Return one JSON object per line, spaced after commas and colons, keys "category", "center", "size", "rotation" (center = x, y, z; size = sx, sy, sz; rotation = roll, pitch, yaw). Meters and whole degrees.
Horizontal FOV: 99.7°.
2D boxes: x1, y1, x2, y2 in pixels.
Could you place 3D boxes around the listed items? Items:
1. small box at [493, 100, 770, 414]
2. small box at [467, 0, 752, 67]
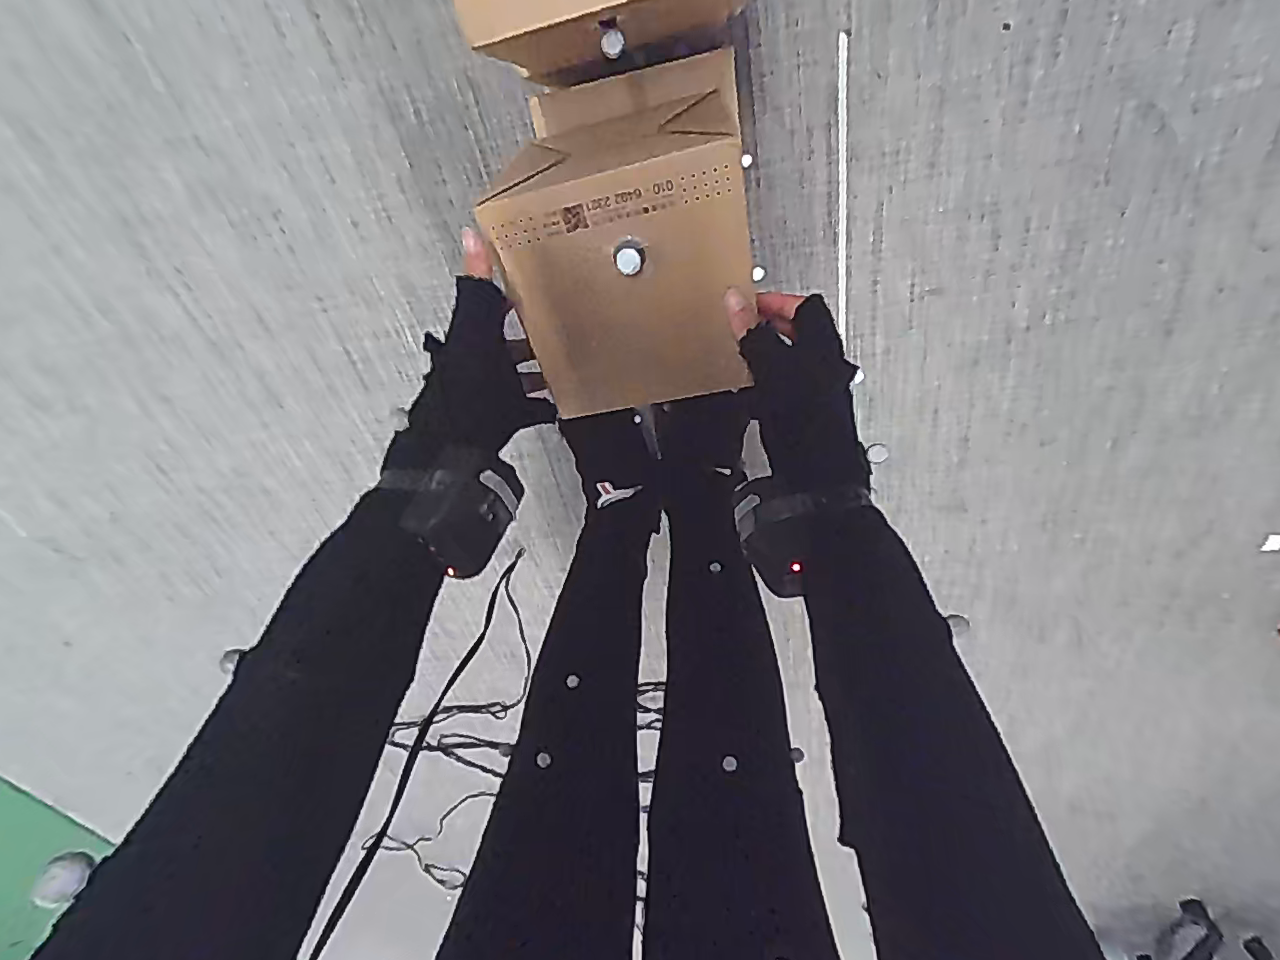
{"category": "small box", "center": [0.006, -0.181, 0.432], "size": [0.168, 0.179, 0.176], "rotation": [-8, 131, 12]}
{"category": "small box", "center": [-0.019, -0.370, 0.323], "size": [0.179, 0.176, 0.168], "rotation": [-8, 123, 11]}
